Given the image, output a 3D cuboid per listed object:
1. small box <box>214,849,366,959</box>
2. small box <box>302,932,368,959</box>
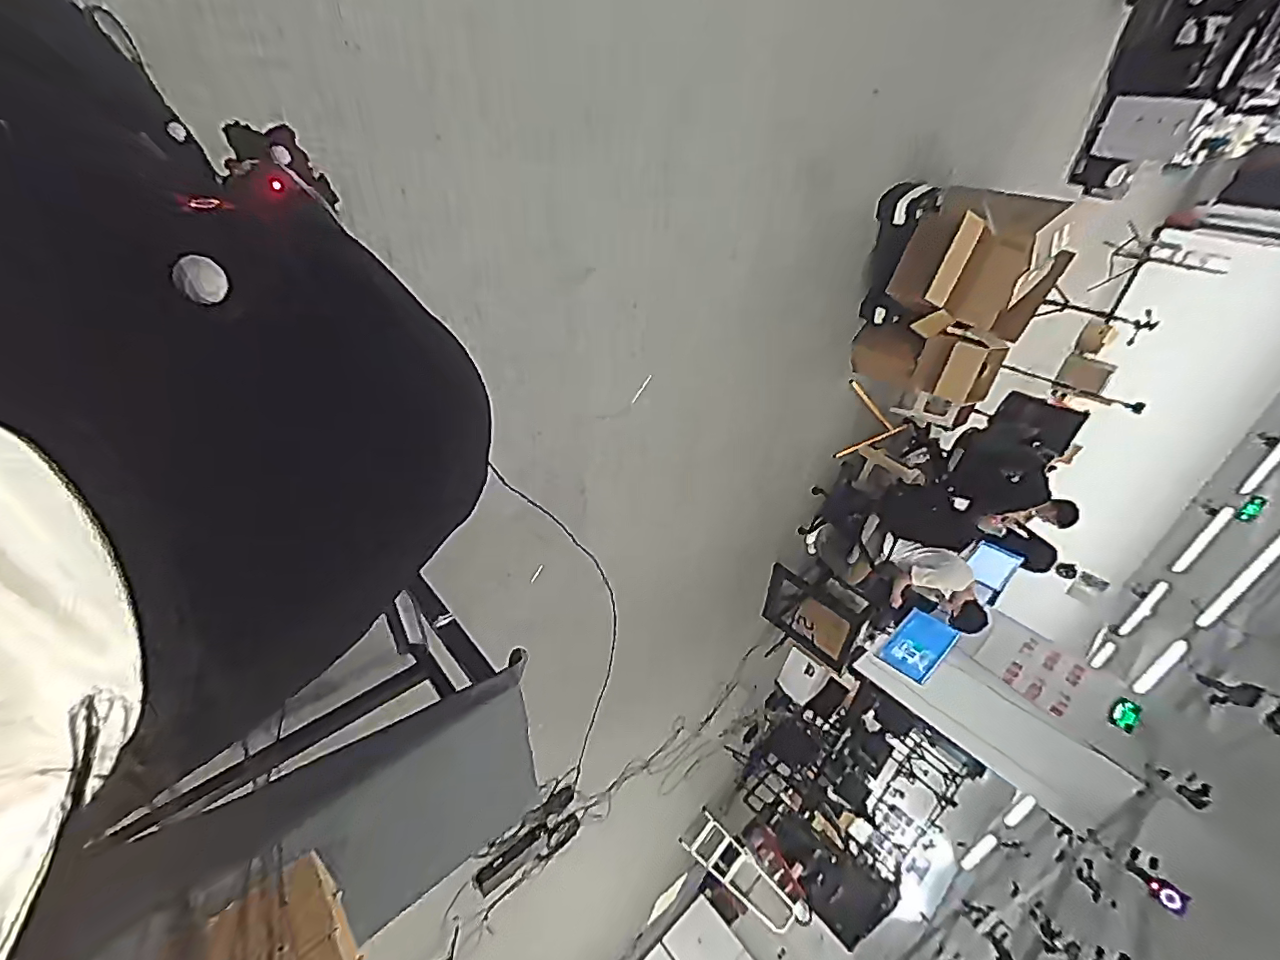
[{"bbox_3d":[-0.643,0.837,1.000,0.179,0.176,0.168,-25,134,-34],"label":"small box"},{"bbox_3d":[-0.535,0.916,0.906,0.168,0.176,0.179,-27,135,-34],"label":"small box"}]
